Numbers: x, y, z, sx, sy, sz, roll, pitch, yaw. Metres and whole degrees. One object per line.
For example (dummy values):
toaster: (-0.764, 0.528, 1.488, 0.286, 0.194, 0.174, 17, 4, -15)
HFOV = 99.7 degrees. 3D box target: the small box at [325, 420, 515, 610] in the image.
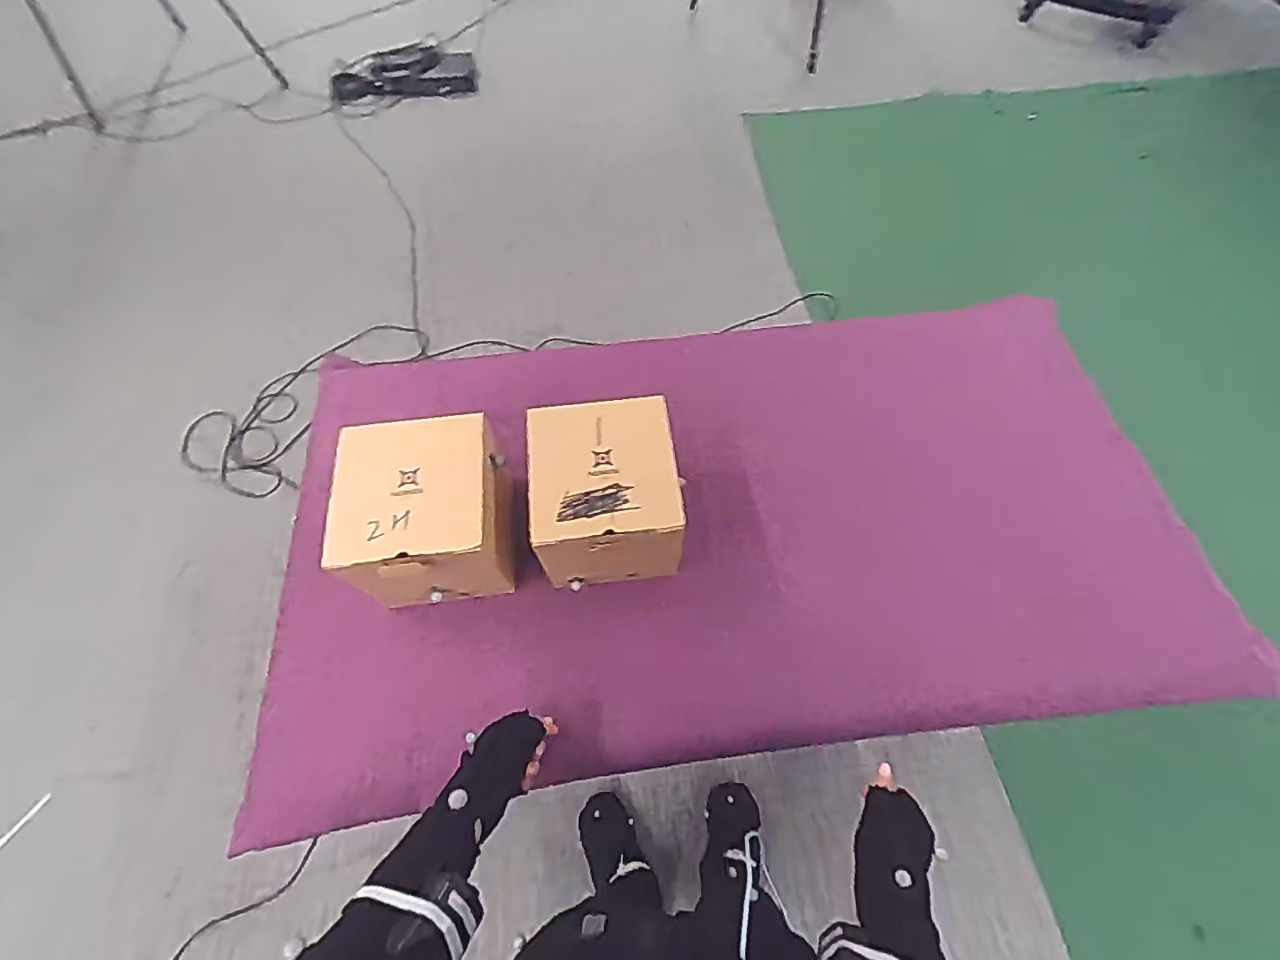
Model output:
small box: (-0.256, 0.049, 0.675, 0.168, 0.176, 0.179, -7, 63, -3)
